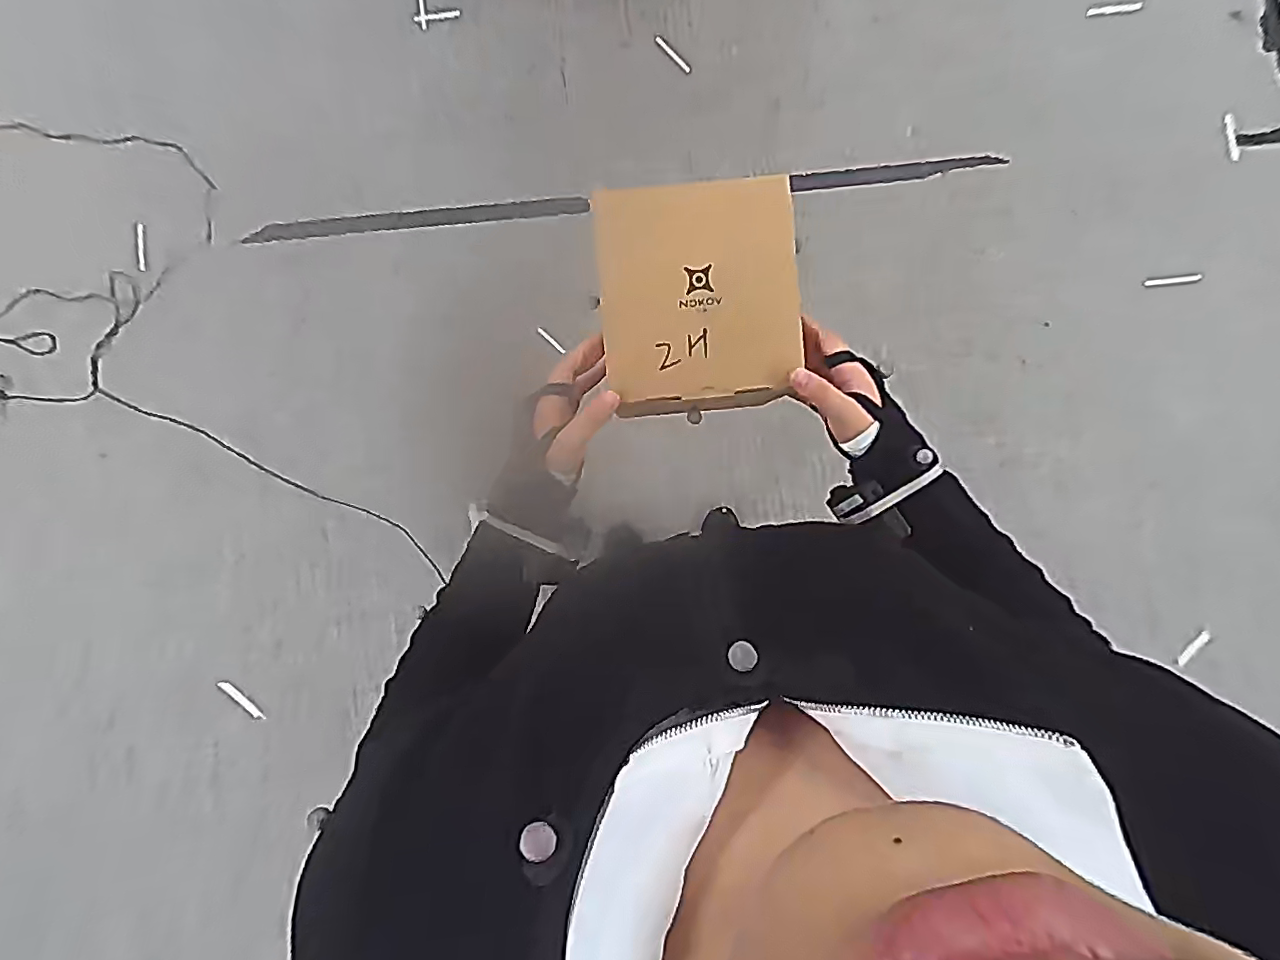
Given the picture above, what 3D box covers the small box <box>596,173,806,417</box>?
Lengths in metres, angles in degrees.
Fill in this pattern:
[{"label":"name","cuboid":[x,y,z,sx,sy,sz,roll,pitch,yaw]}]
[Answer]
[{"label":"small box","cuboid":[0.050,-0.161,0.524,0.168,0.176,0.179,-5,92,1]}]
